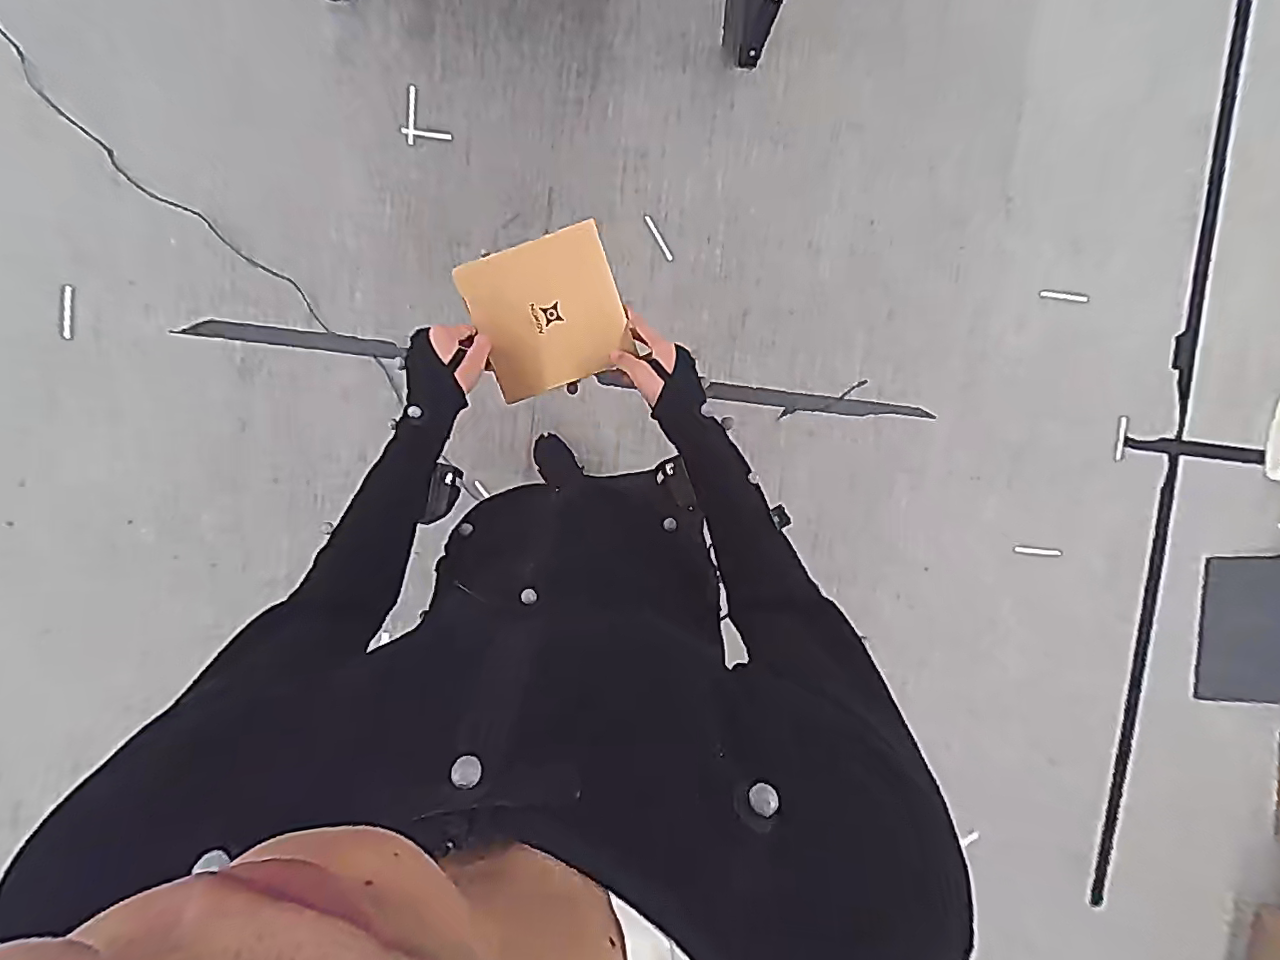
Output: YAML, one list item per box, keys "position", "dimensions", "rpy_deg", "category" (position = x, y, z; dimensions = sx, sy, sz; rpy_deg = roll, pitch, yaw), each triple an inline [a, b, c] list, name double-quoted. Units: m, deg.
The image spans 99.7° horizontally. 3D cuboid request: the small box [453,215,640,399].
- position: [-0.110, -0.223, 0.705]
  dimensions: [0.179, 0.176, 0.168]
  rpy_deg: [-19, 107, 5]
  category: "small box"
